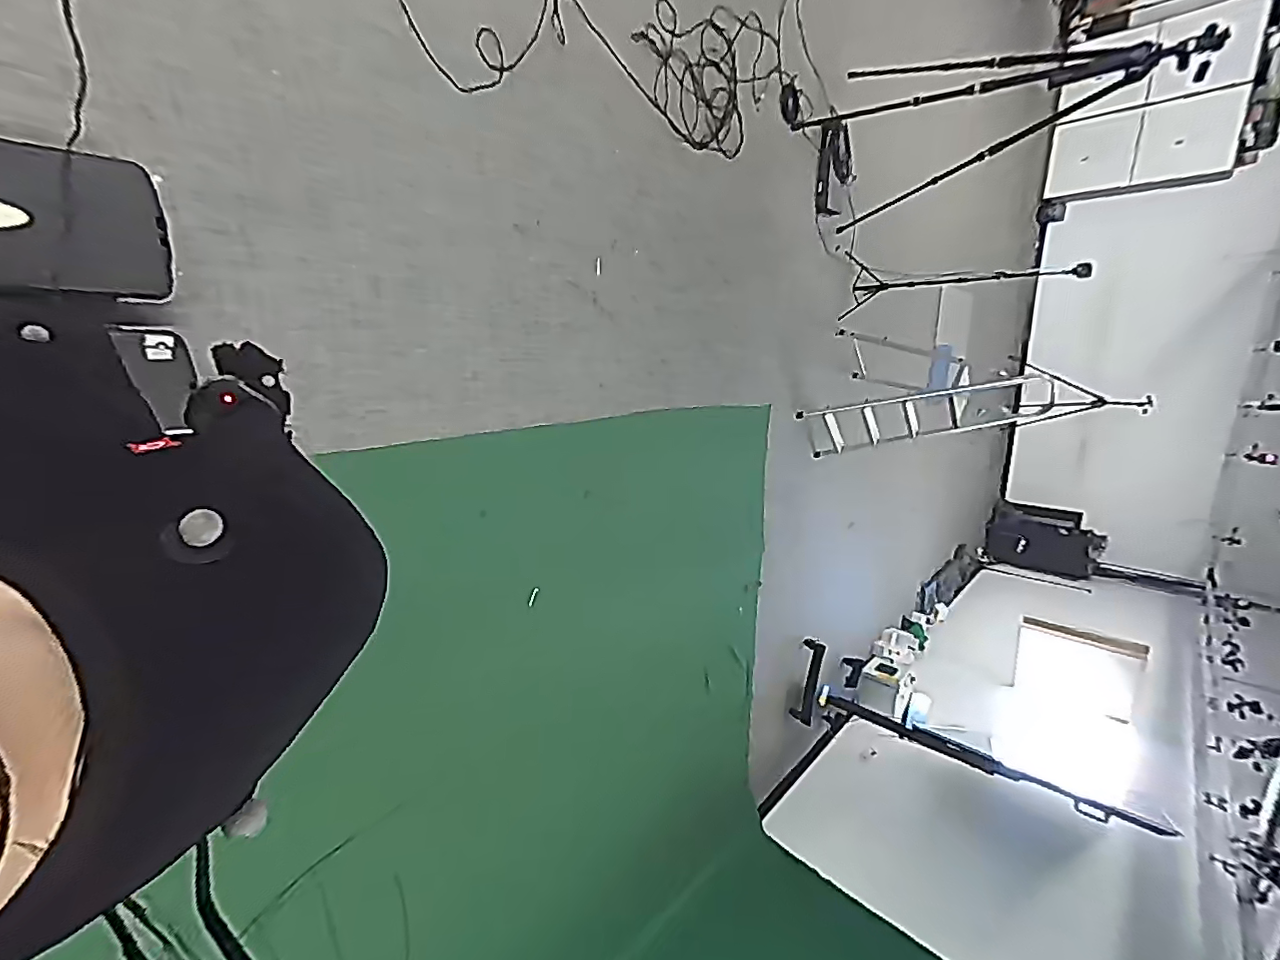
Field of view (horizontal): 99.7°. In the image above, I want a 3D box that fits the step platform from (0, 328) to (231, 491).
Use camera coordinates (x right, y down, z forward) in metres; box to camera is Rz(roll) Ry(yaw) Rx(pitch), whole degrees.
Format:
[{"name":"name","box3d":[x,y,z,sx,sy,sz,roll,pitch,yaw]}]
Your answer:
[{"name":"step platform","box3d":[-1.112,-0.105,0.881,0.684,0.204,0.286,-15,110,-46]}]
